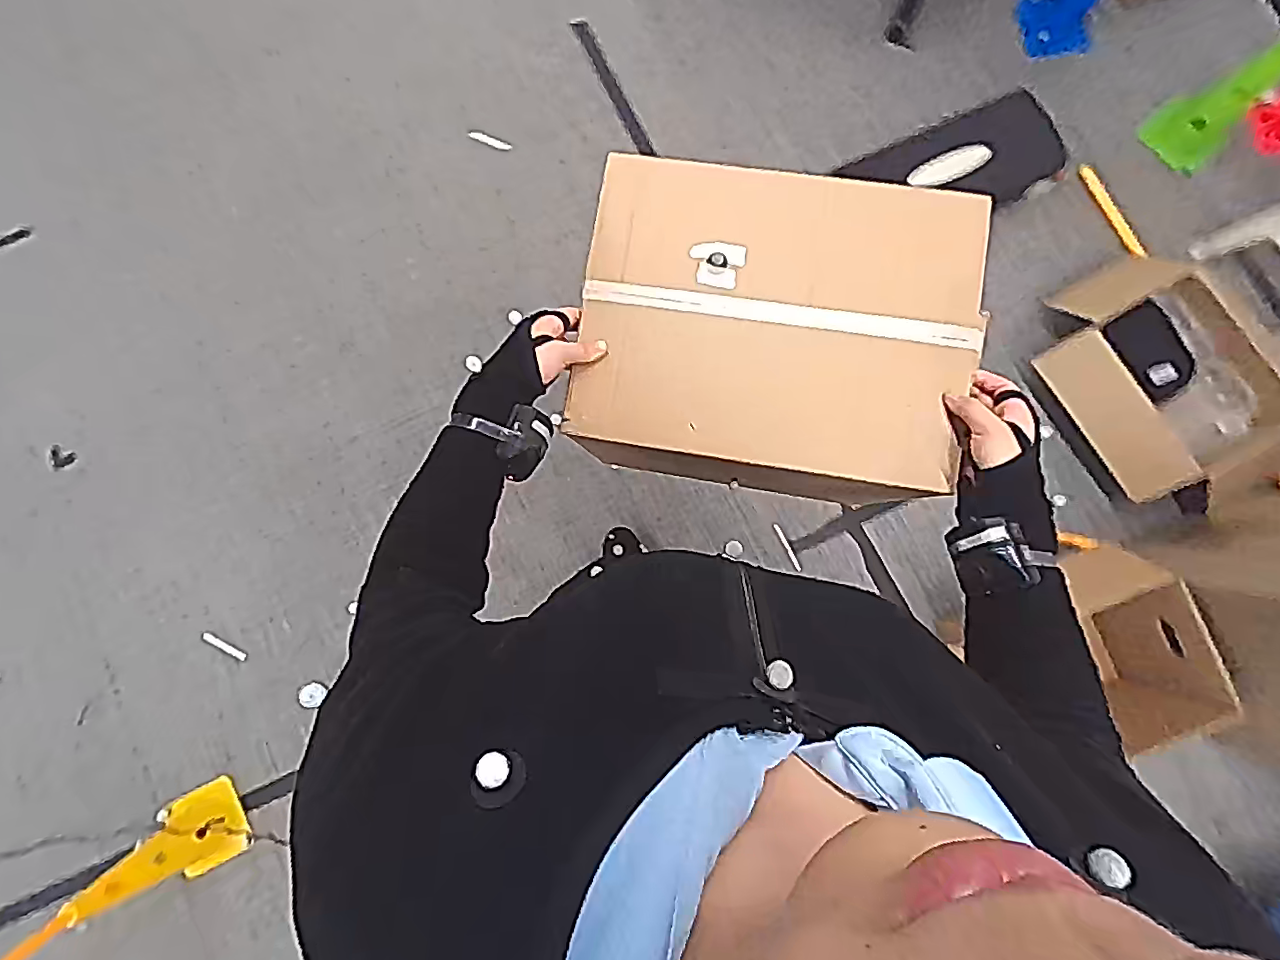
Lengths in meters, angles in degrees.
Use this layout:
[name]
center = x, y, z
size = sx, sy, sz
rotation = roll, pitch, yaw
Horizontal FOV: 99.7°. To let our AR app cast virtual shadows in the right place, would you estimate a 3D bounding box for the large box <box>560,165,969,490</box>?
[large box]
center = 0.144, -0.166, 0.720
size = 0.408, 0.320, 0.320
rotation = 8, 85, 6
